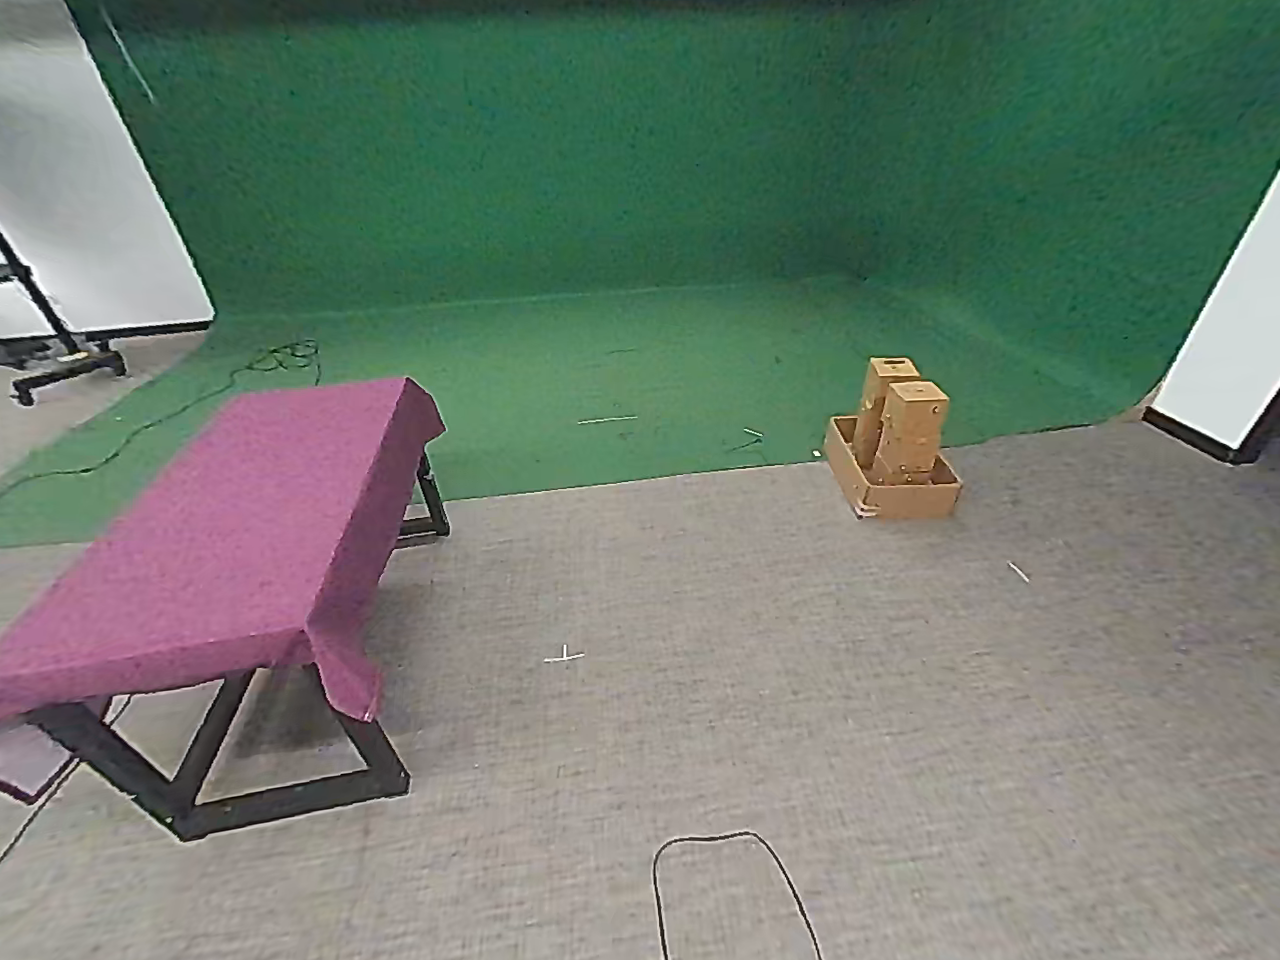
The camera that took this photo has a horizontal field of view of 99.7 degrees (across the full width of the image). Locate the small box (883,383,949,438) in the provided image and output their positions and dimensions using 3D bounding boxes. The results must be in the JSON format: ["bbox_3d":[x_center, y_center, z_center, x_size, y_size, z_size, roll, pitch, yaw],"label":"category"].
[{"bbox_3d":[1.119,-0.283,2.207,0.179,0.176,0.168,-3,34,2],"label":"small box"}]

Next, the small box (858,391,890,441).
[{"bbox_3d":[1.122,-0.295,2.515,0.168,0.176,0.179,3,38,11],"label":"small box"}]

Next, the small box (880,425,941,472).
[{"bbox_3d":[1.142,-0.144,2.295,0.168,0.176,0.179,-3,34,2],"label":"small box"}]
